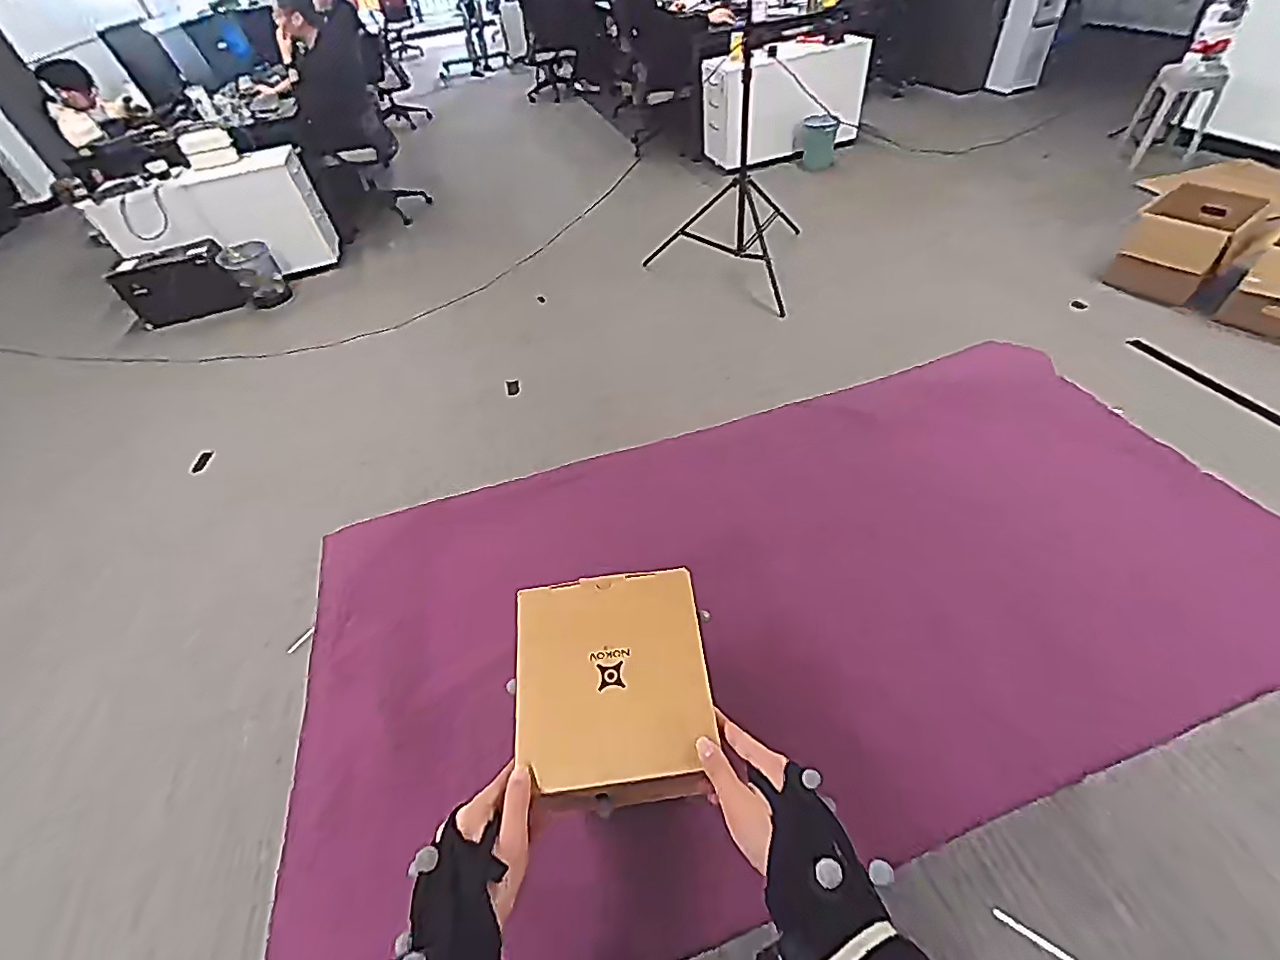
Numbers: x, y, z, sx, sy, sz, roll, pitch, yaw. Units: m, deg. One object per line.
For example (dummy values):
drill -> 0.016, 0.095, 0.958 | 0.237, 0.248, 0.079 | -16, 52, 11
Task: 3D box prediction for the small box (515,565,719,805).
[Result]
small box -> -0.019, 0.208, 0.531 | 0.168, 0.176, 0.179 | -8, 53, -1
